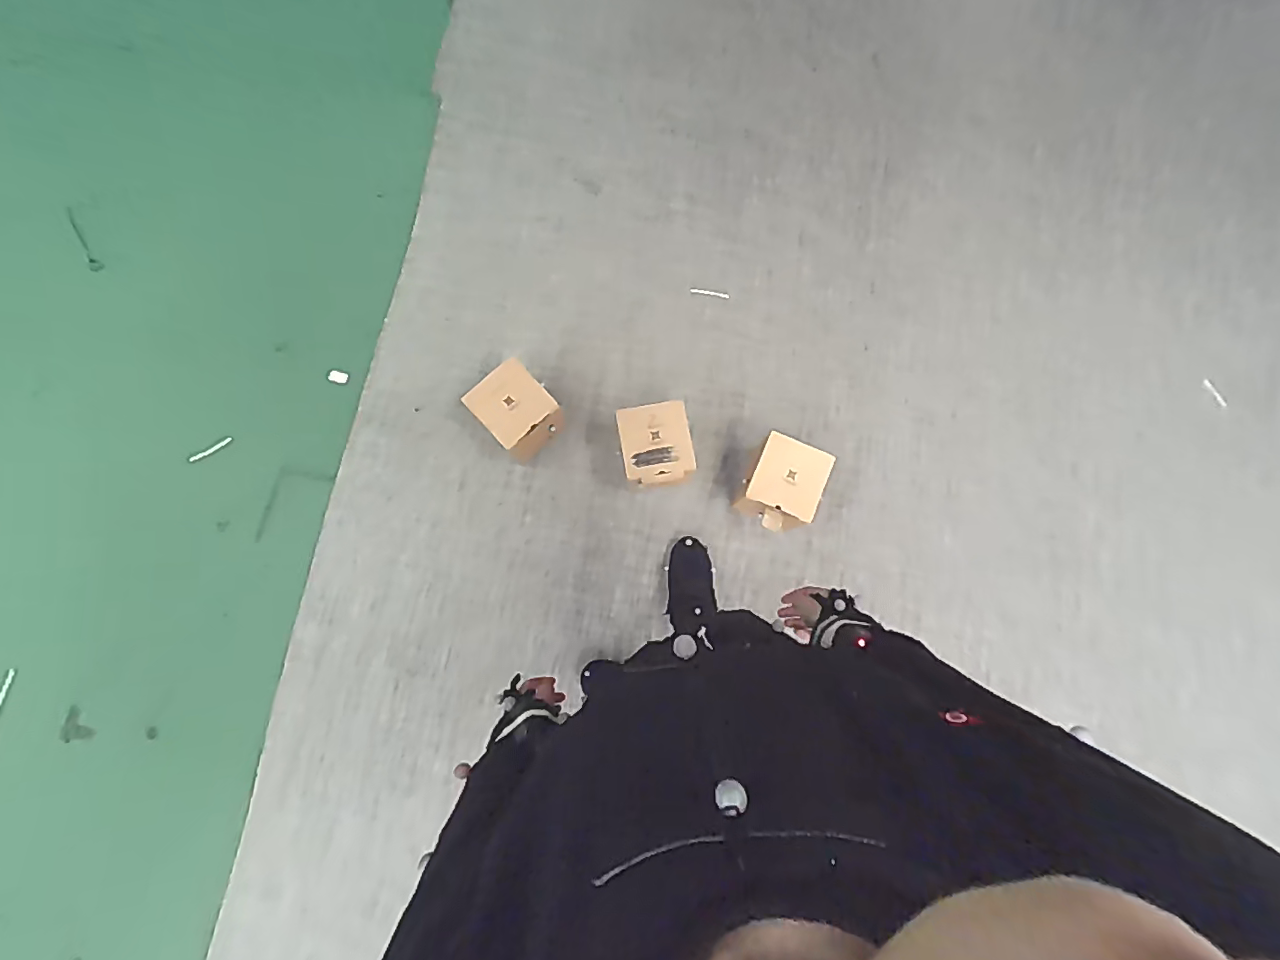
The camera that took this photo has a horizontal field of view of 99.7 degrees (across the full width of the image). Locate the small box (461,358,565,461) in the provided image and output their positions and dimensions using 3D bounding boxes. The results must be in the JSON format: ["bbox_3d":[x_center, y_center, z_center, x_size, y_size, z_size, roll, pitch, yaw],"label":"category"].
[{"bbox_3d":[-0.307,-0.165,1.352,0.168,0.176,0.179,-44,82,-8],"label":"small box"}]

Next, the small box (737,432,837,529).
[{"bbox_3d":[0.352,0.007,1.331,0.168,0.176,0.179,23,81,3],"label":"small box"}]
